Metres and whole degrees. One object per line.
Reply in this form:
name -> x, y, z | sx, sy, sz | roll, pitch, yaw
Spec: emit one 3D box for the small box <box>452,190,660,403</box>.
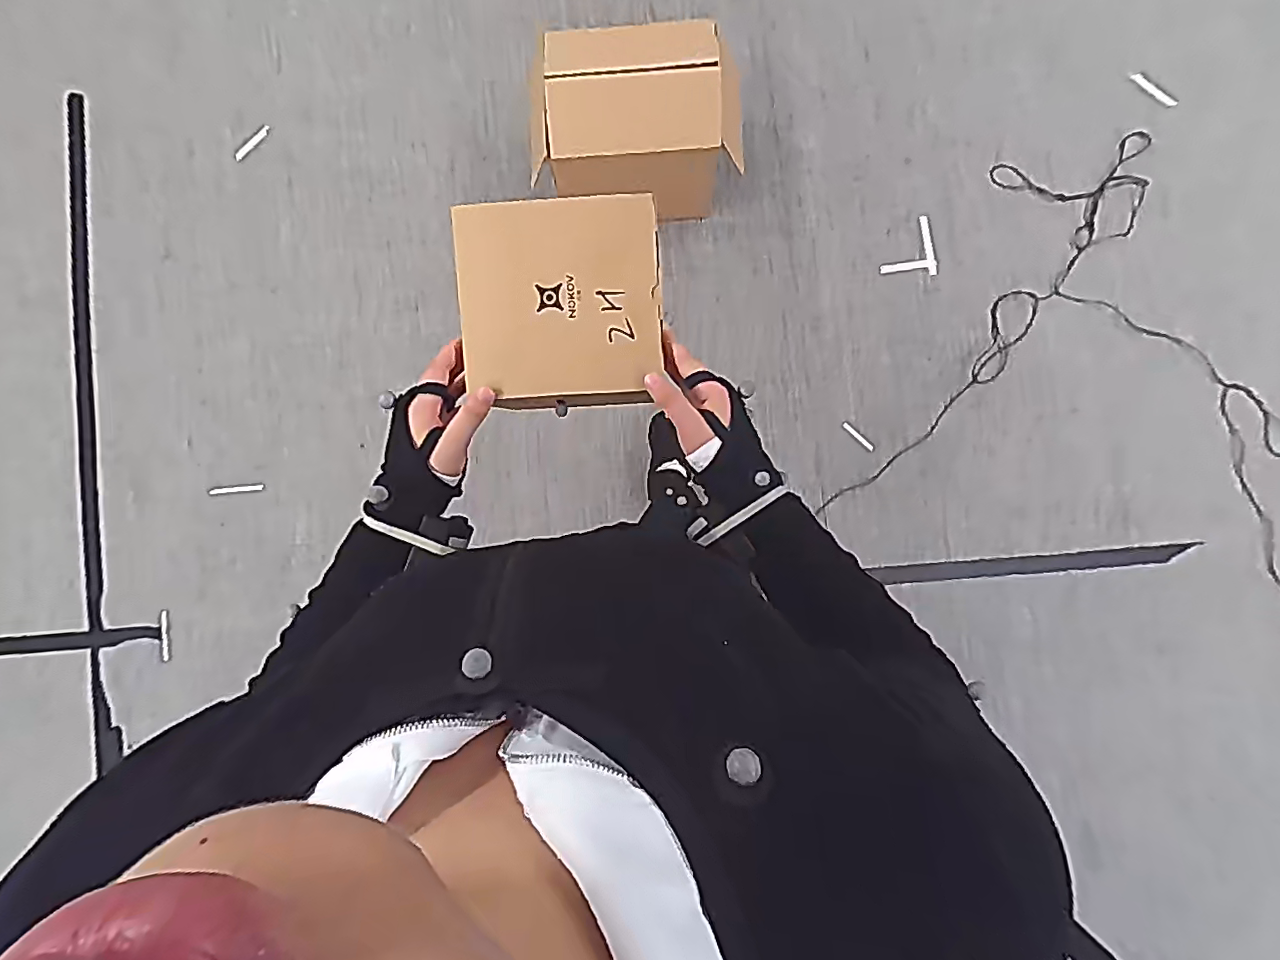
small box -> -0.071, -0.168, 0.547 | 0.179, 0.176, 0.168 | -3, 95, 0
